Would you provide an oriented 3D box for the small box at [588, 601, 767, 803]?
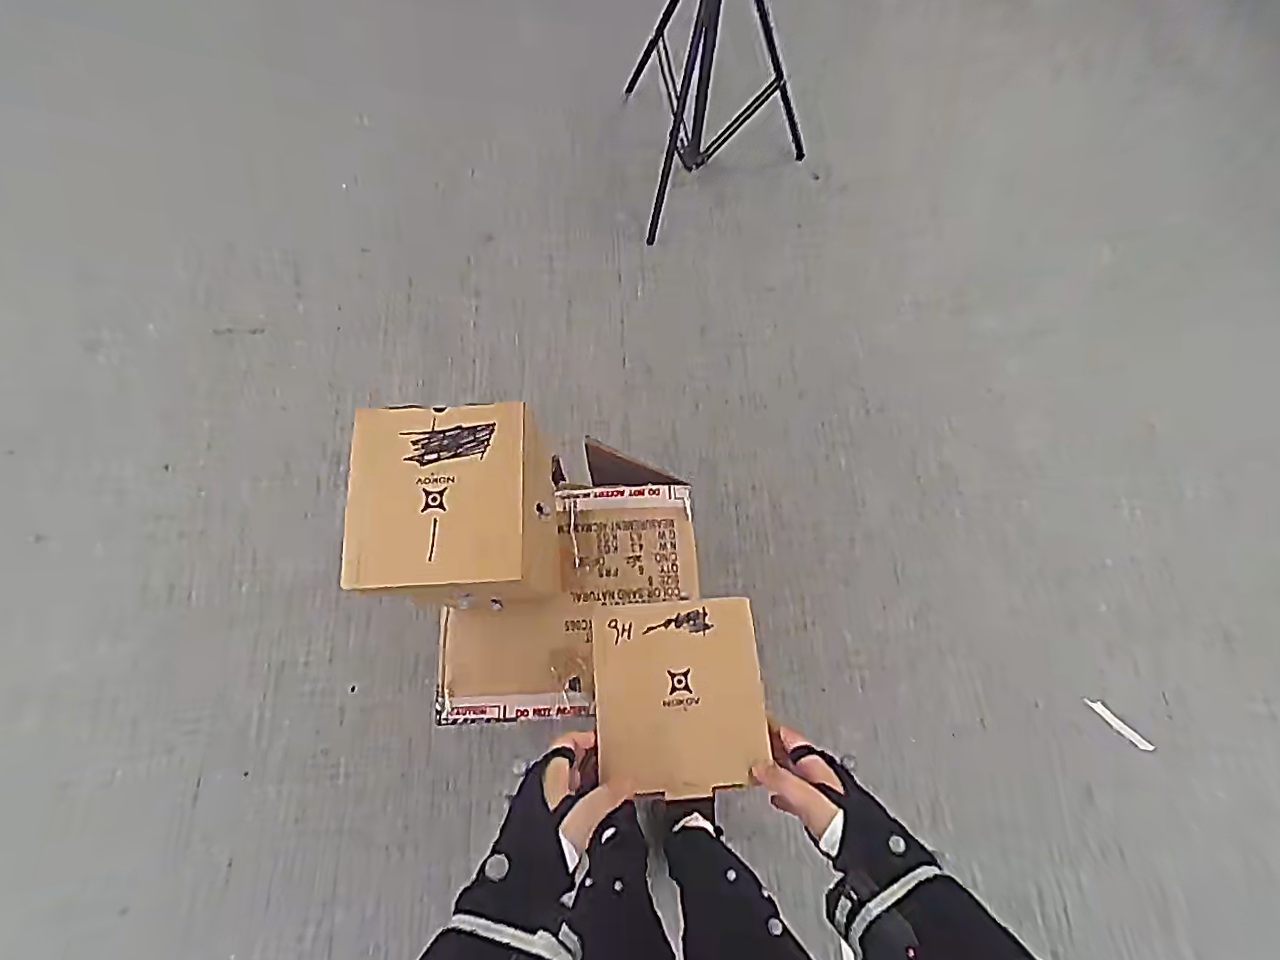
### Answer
[{"bbox_3d":[0.031,0.235,0.602,0.168,0.176,0.179,-3,71,-4],"label":"small box"}]

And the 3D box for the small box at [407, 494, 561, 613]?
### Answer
[{"bbox_3d":[-0.205,0.083,0.740,0.168,0.176,0.179,-6,75,-1],"label":"small box"}]

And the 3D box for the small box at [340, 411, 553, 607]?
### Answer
[{"bbox_3d":[-0.190,0.040,0.581,0.168,0.176,0.179,-3,75,0],"label":"small box"}]
